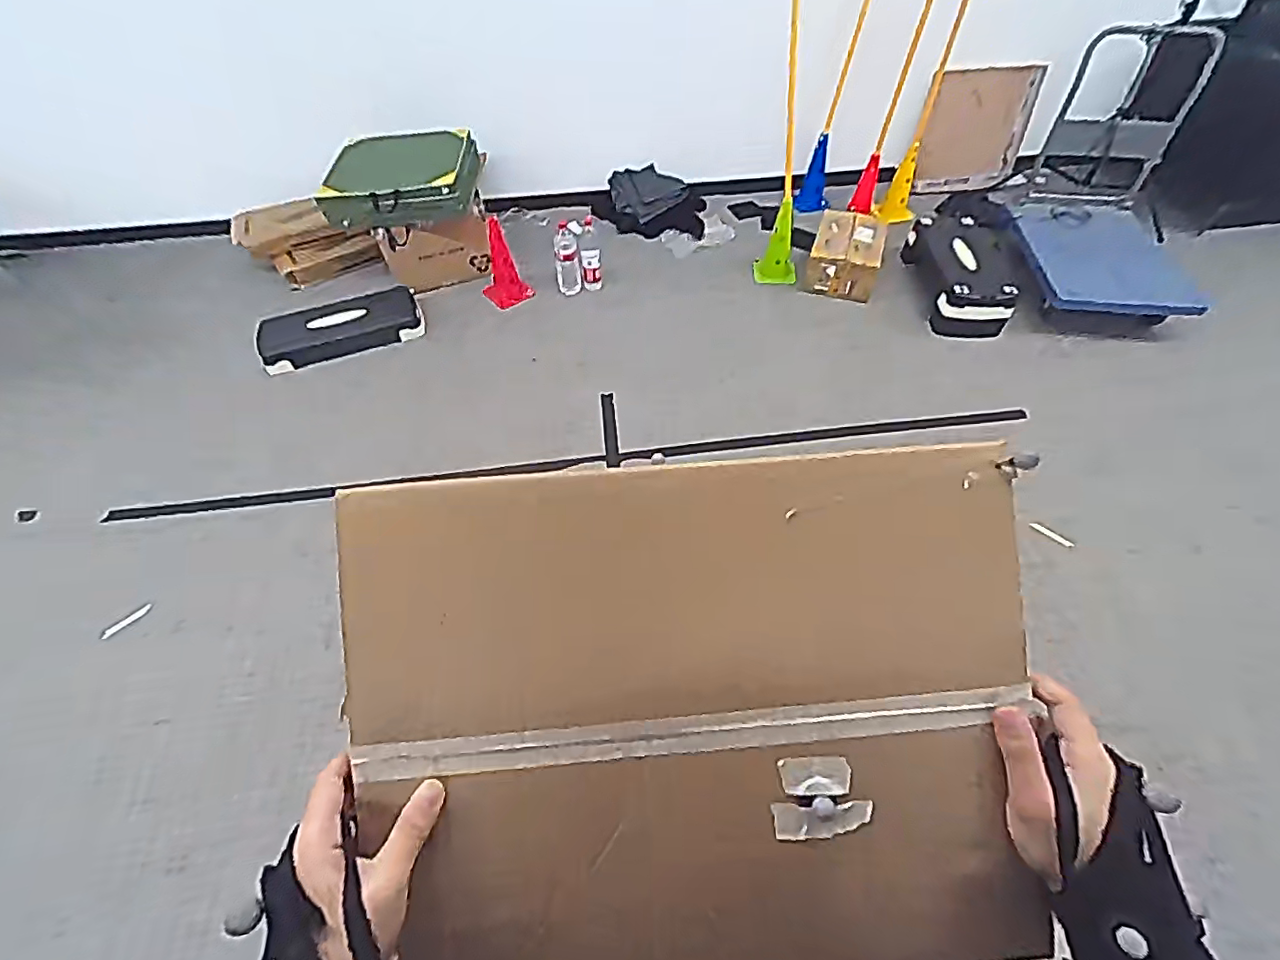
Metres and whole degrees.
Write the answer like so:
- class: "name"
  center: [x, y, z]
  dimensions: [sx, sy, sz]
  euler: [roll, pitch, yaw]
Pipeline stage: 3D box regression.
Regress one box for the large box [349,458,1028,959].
- class: "large box"
  center: [0.026, 0.160, 0.481]
  dimensions: [0.408, 0.320, 0.320]
  euler: [-5, 90, -3]
